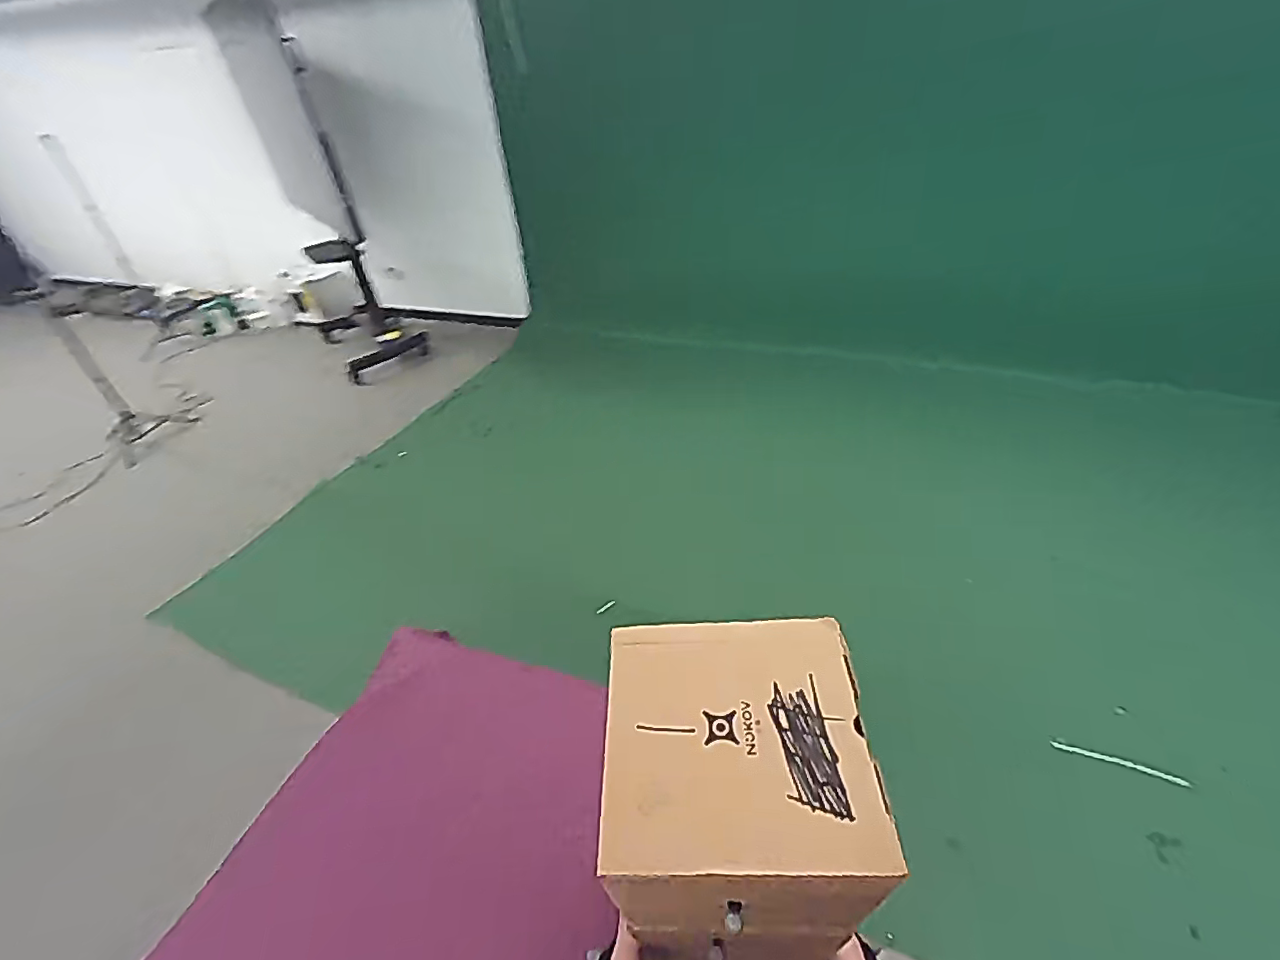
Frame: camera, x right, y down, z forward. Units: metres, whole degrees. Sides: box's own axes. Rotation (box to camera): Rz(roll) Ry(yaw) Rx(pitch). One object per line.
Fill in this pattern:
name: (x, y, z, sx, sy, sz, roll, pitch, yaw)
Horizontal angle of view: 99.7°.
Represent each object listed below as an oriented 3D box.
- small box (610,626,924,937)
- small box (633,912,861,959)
small box: (0.080, 0.228, 0.412, 0.179, 0.176, 0.168, -3, 43, 6)
small box: (0.095, 0.350, 0.522, 0.179, 0.176, 0.168, -2, 44, 7)
